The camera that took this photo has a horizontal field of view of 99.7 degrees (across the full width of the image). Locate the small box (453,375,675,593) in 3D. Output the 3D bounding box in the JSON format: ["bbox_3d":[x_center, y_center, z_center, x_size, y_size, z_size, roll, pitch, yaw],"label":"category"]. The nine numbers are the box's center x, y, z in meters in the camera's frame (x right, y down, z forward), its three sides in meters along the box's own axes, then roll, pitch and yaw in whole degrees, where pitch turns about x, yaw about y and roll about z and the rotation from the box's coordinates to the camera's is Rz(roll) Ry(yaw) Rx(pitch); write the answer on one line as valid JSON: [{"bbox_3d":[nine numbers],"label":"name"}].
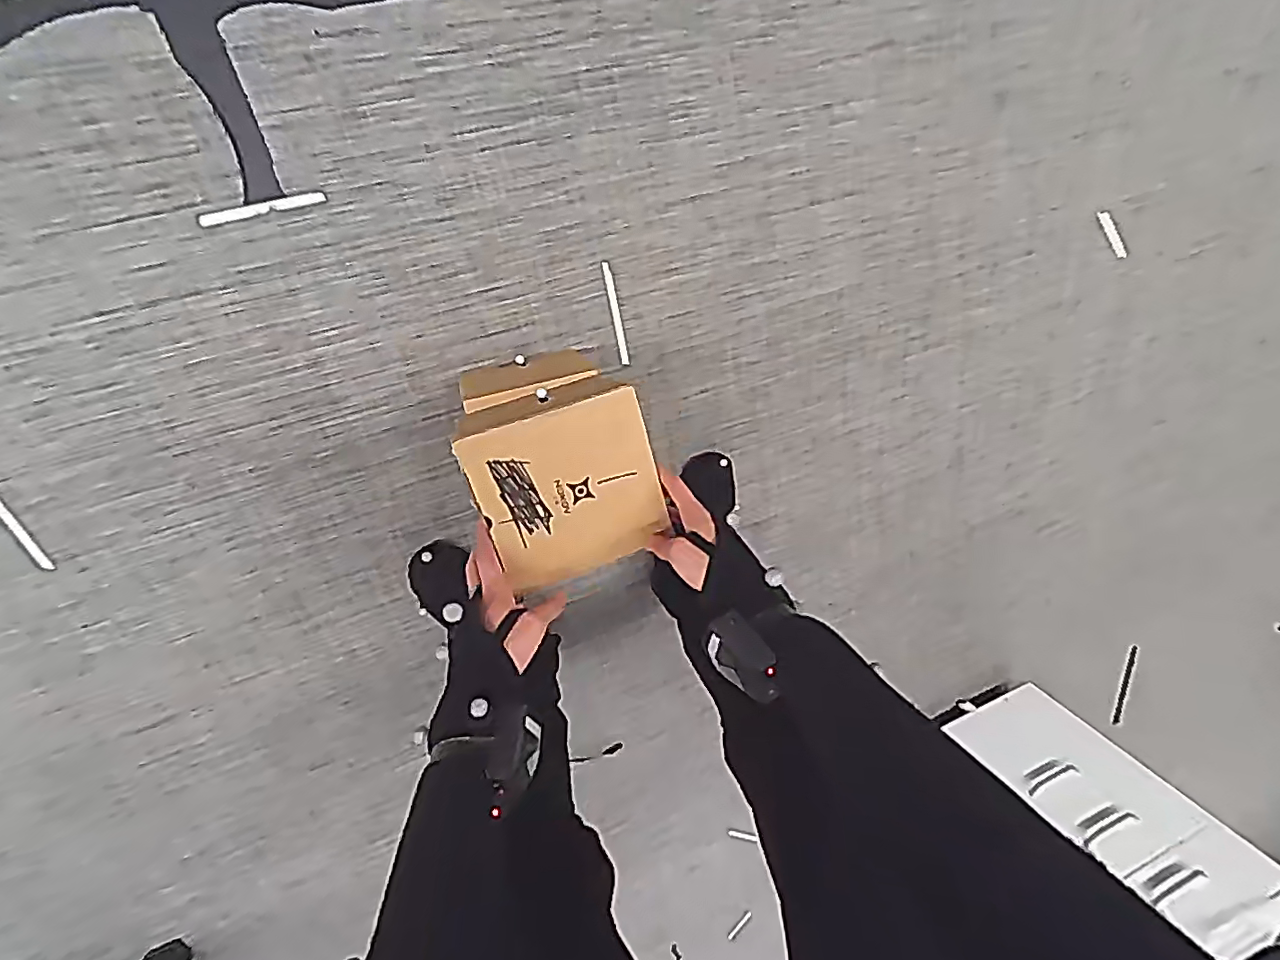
[{"bbox_3d":[-0.086,-0.010,0.583,0.179,0.176,0.168,-20,109,-12],"label":"small box"}]
